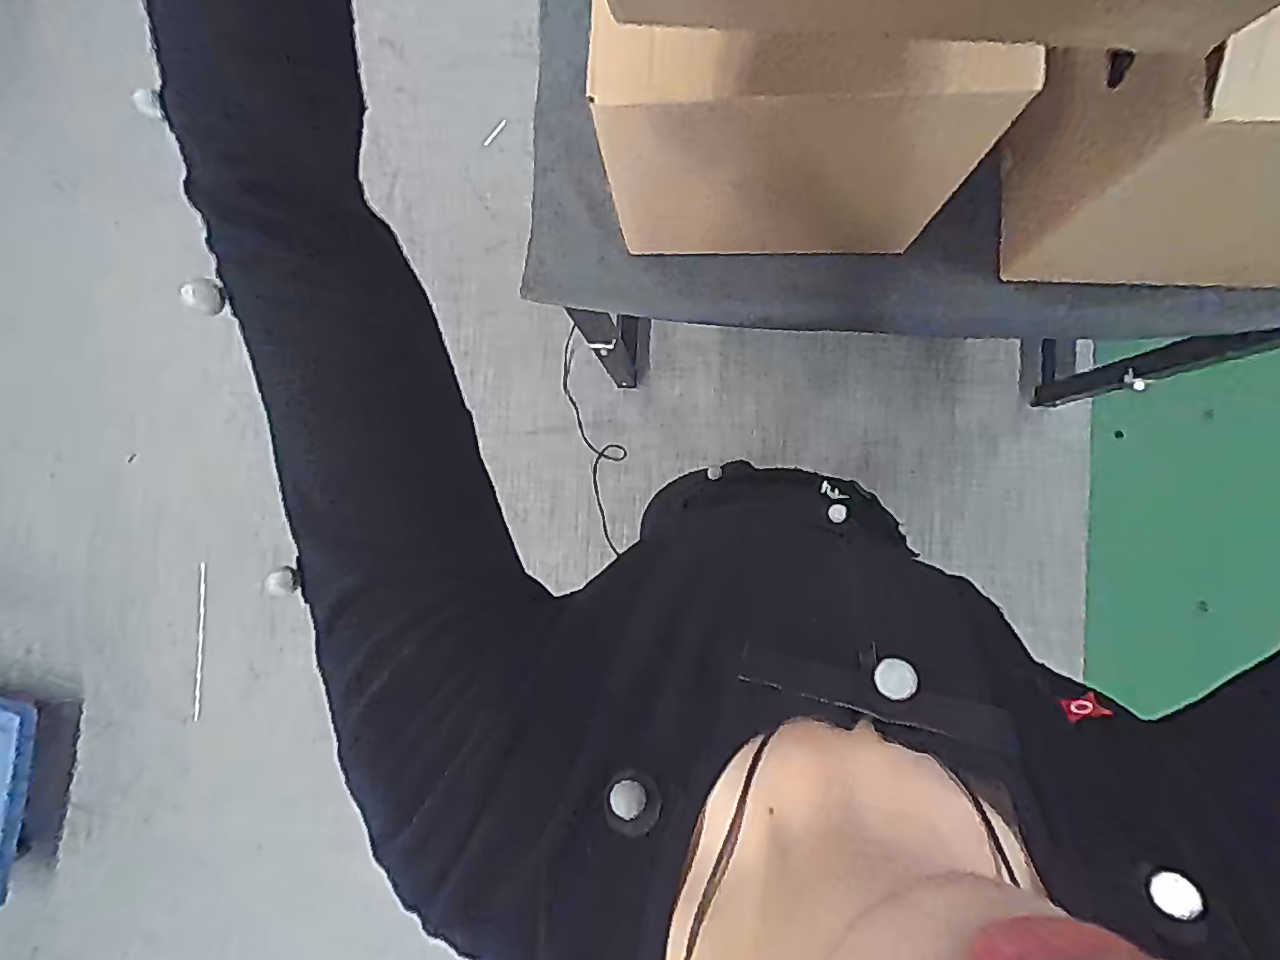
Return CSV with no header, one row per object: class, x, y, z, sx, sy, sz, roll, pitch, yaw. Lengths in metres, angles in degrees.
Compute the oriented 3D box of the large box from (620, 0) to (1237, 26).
large box,0.174,-0.428,0.195,0.408,0.320,0.320,7,107,4
